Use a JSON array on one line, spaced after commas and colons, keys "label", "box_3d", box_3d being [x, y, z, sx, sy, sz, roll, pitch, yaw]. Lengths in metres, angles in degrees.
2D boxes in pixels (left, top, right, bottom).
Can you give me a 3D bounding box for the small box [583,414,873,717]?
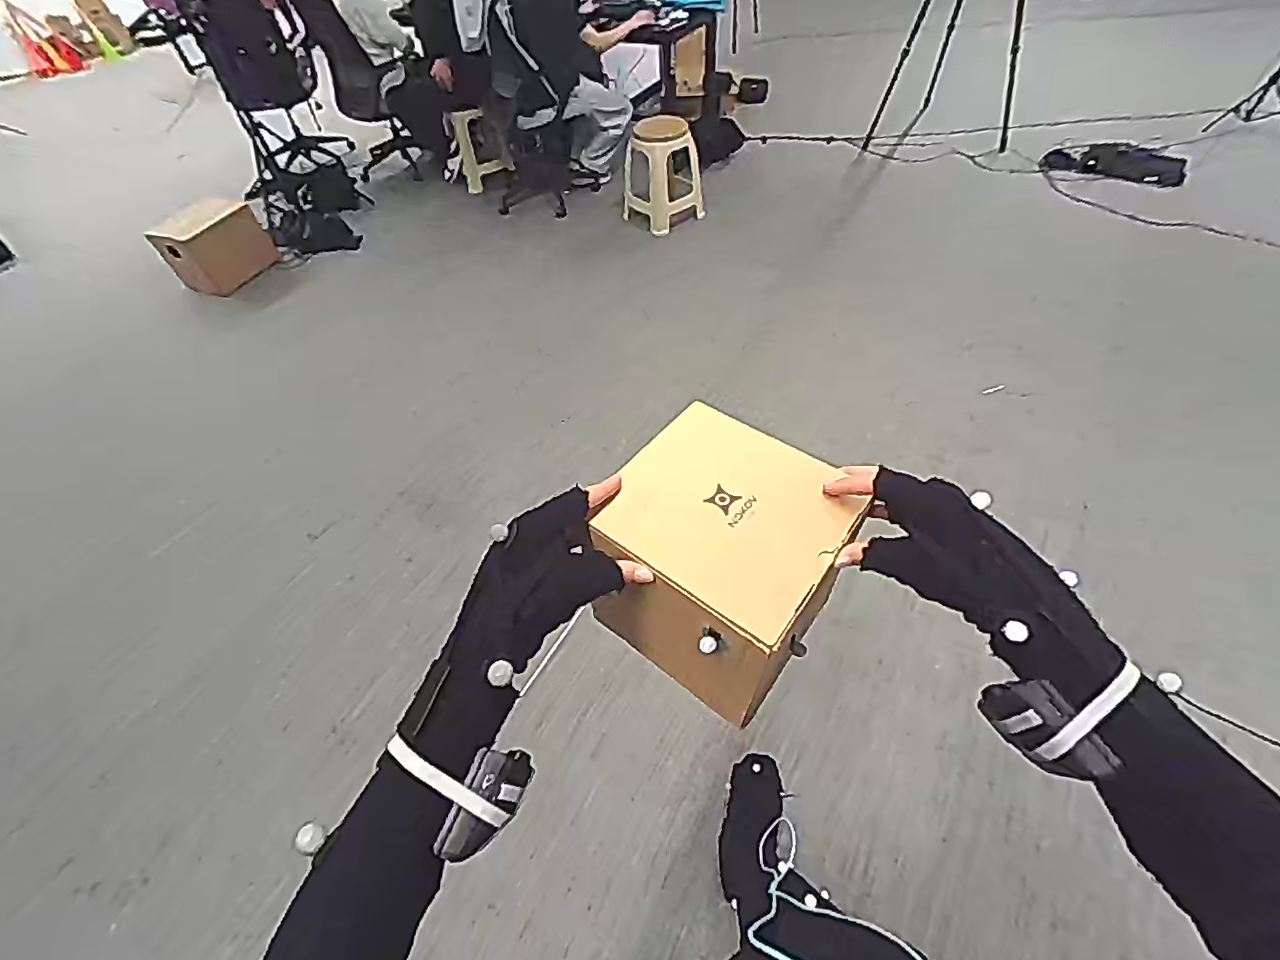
[{"label": "small box", "box_3d": [0.068, 0.077, 0.487, 0.179, 0.176, 0.168, 33, 56, 24]}]
